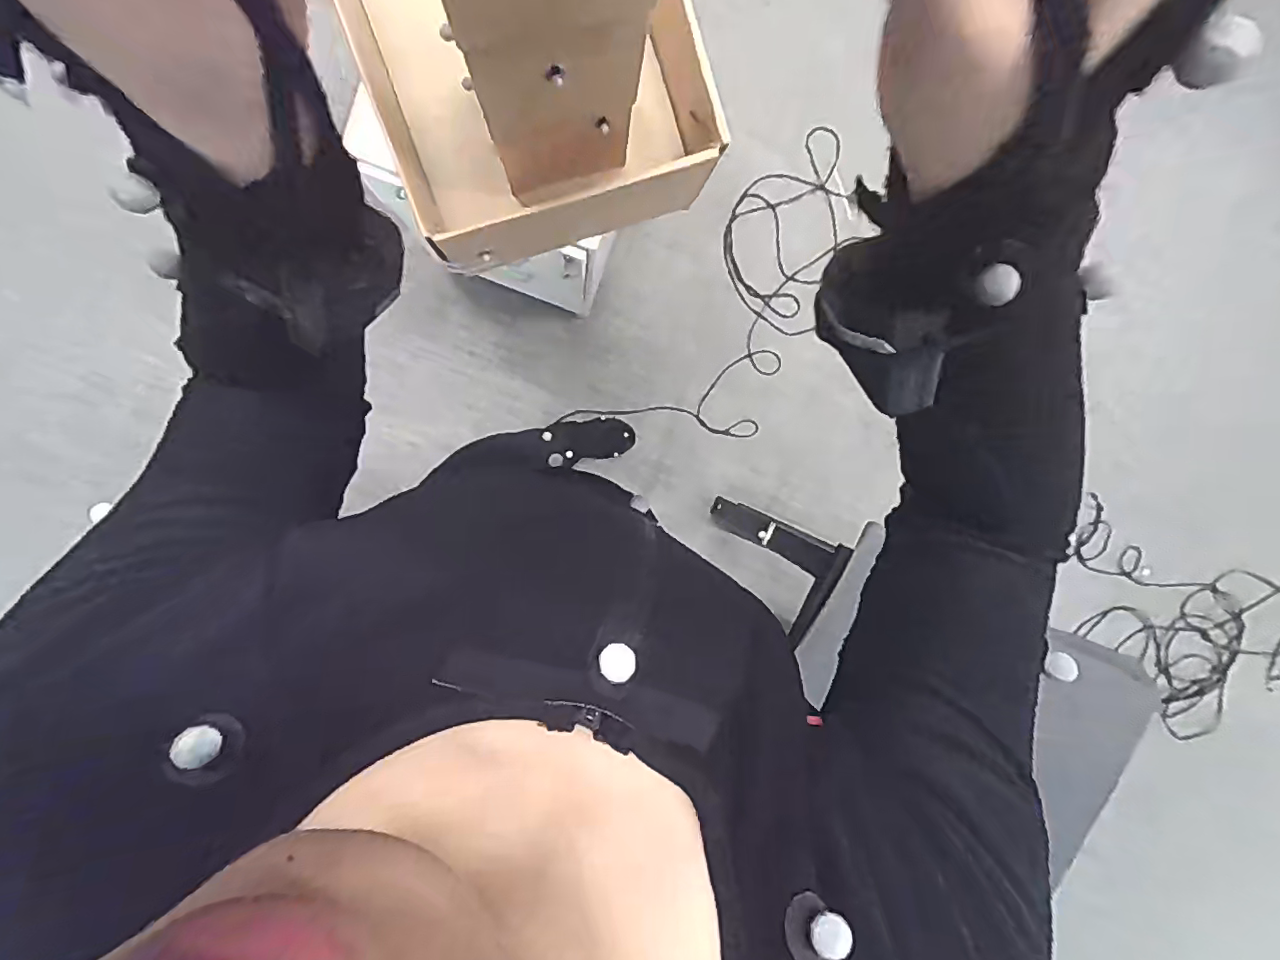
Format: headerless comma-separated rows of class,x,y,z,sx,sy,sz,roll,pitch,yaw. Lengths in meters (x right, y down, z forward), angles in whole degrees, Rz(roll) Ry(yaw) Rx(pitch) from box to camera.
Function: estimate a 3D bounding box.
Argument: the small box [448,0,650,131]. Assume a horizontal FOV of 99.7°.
small box,-0.102,-0.488,0.534,0.179,0.176,0.168,-17,97,-3
